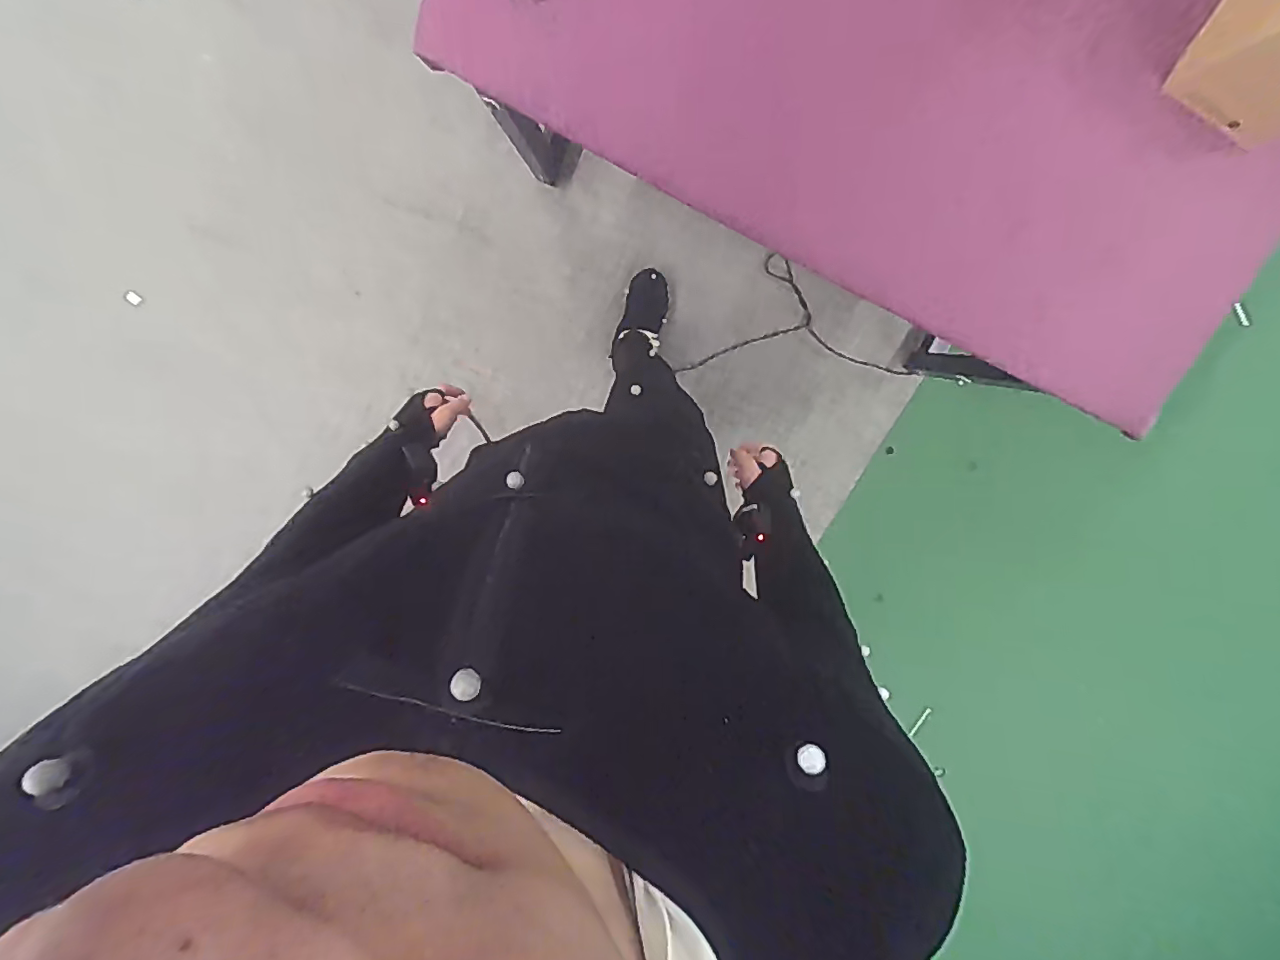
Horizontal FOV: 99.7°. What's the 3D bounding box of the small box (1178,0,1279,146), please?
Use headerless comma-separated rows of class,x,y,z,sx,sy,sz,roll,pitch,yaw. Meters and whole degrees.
small box,0.810,-0.537,0.627,0.168,0.176,0.179,28,103,-6
